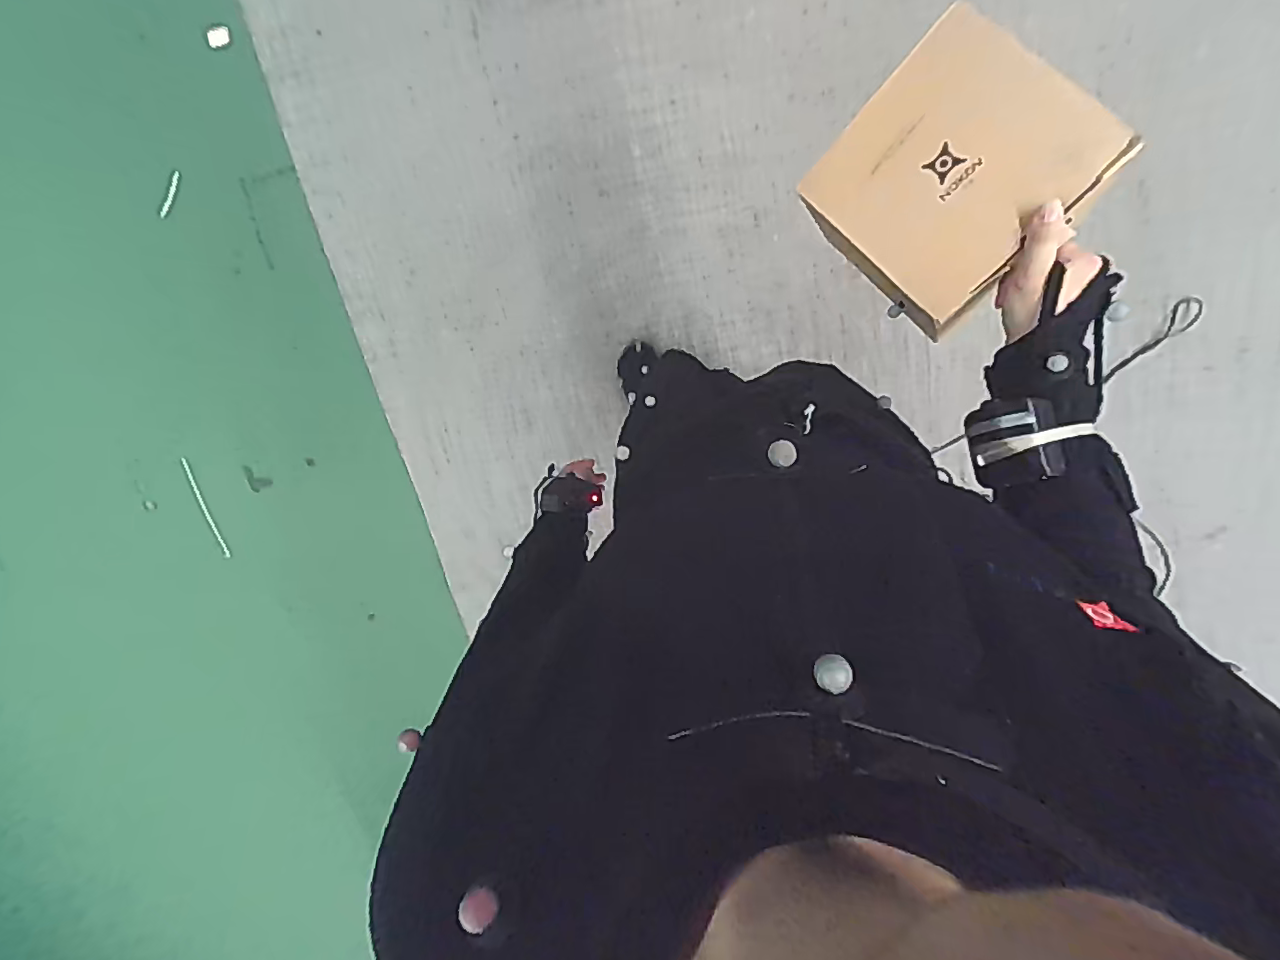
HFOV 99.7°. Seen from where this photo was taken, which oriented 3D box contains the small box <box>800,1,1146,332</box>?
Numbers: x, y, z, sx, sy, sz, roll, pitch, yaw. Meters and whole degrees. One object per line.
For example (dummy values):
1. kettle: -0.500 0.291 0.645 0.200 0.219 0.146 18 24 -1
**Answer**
1. small box: 0.279 -0.252 0.488 0.168 0.176 0.179 -45 75 25
